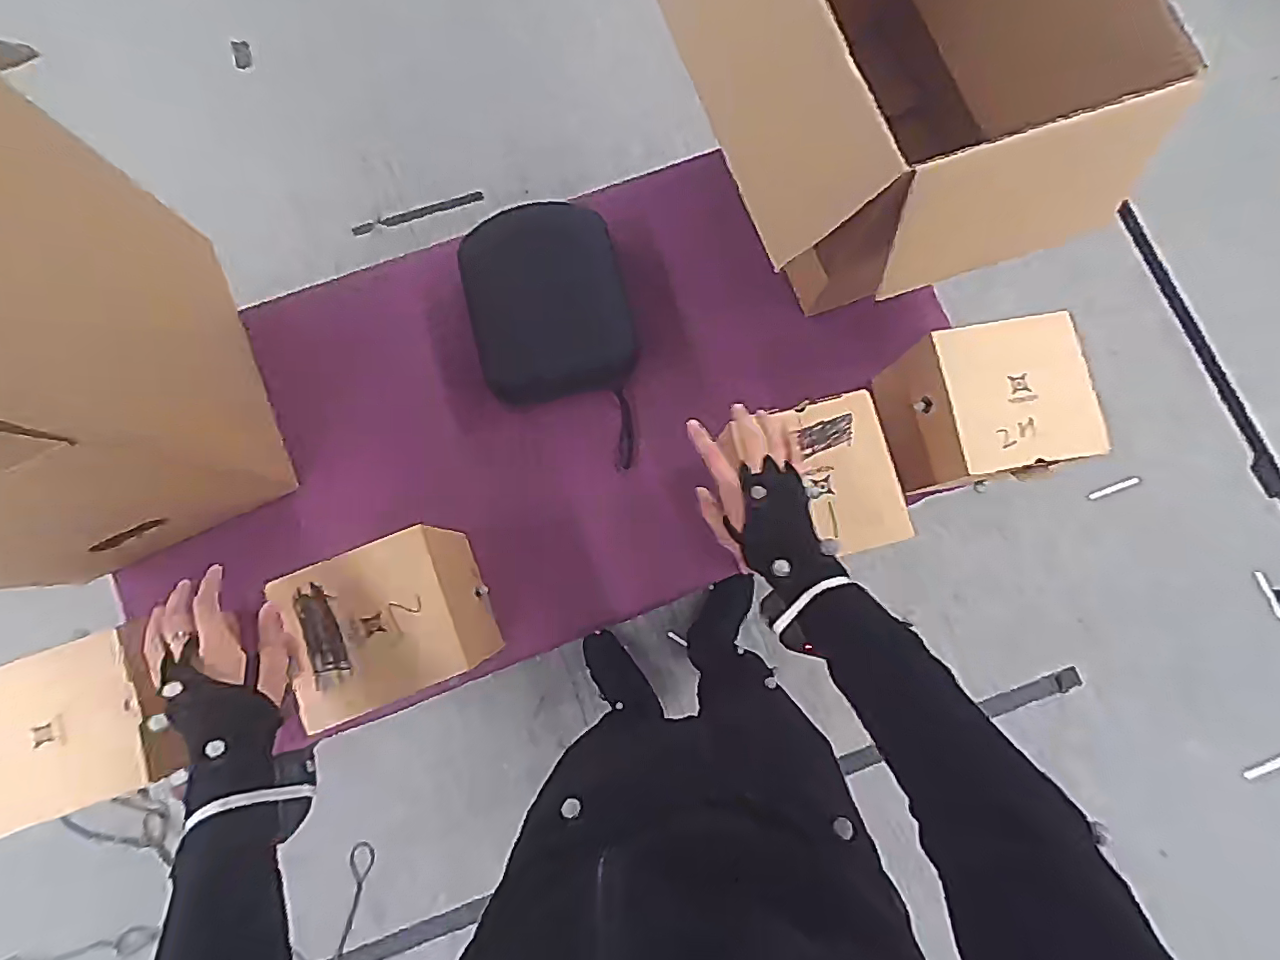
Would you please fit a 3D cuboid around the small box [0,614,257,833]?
[{"bbox_3d":[-0.599,0.266,0.627,0.179,0.176,0.168,-19,82,-5],"label":"small box"}]

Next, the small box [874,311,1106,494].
[{"bbox_3d":[0.424,-0.088,0.690,0.168,0.176,0.179,-9,81,-1],"label":"small box"}]
